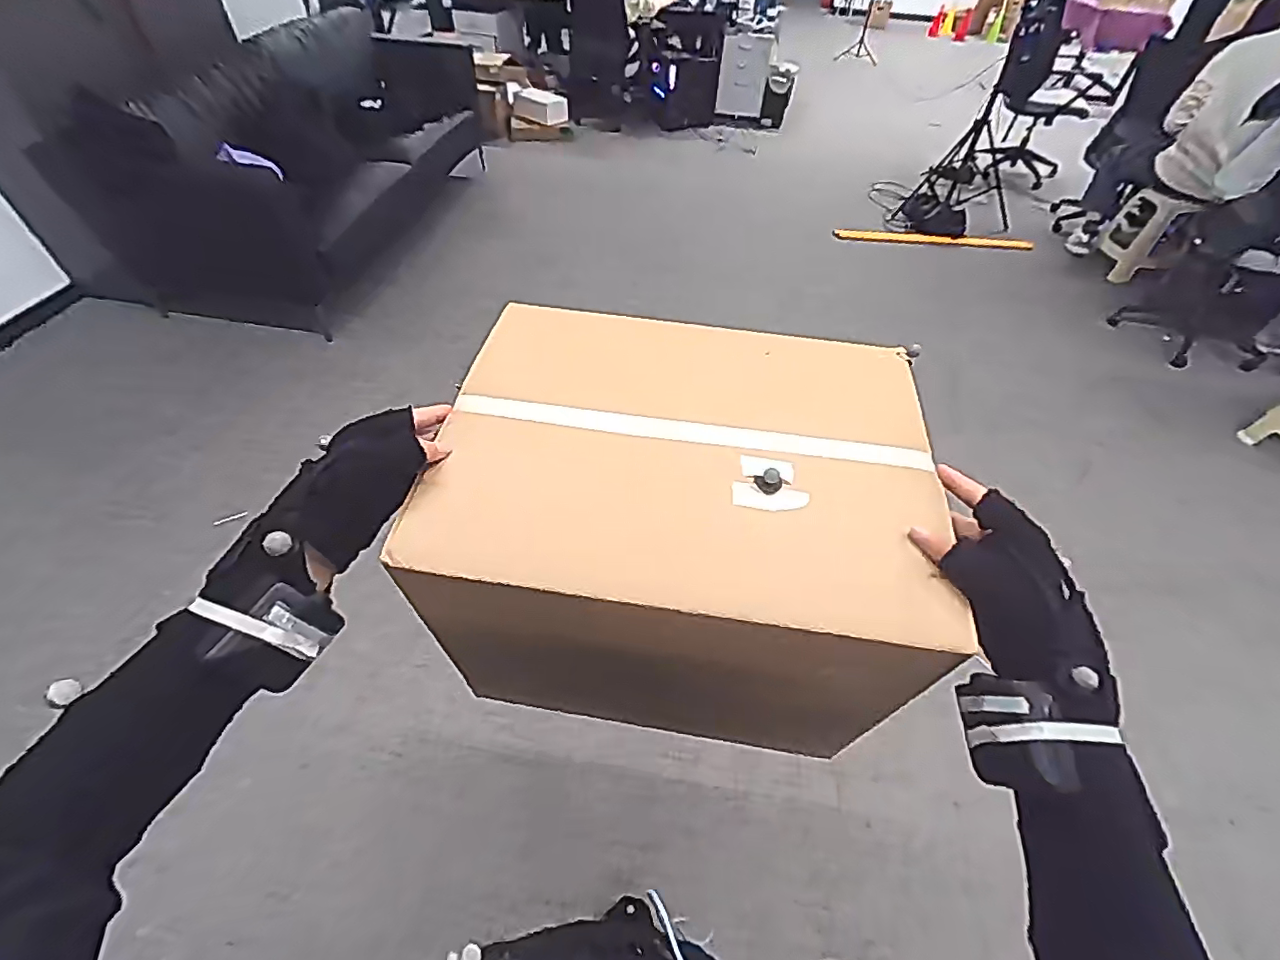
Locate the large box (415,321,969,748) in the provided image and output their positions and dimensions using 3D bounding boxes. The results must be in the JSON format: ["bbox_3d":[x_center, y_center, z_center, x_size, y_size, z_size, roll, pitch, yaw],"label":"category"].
[{"bbox_3d":[0.043,0.064,0.586,0.408,0.320,0.320,8,52,3],"label":"large box"}]
